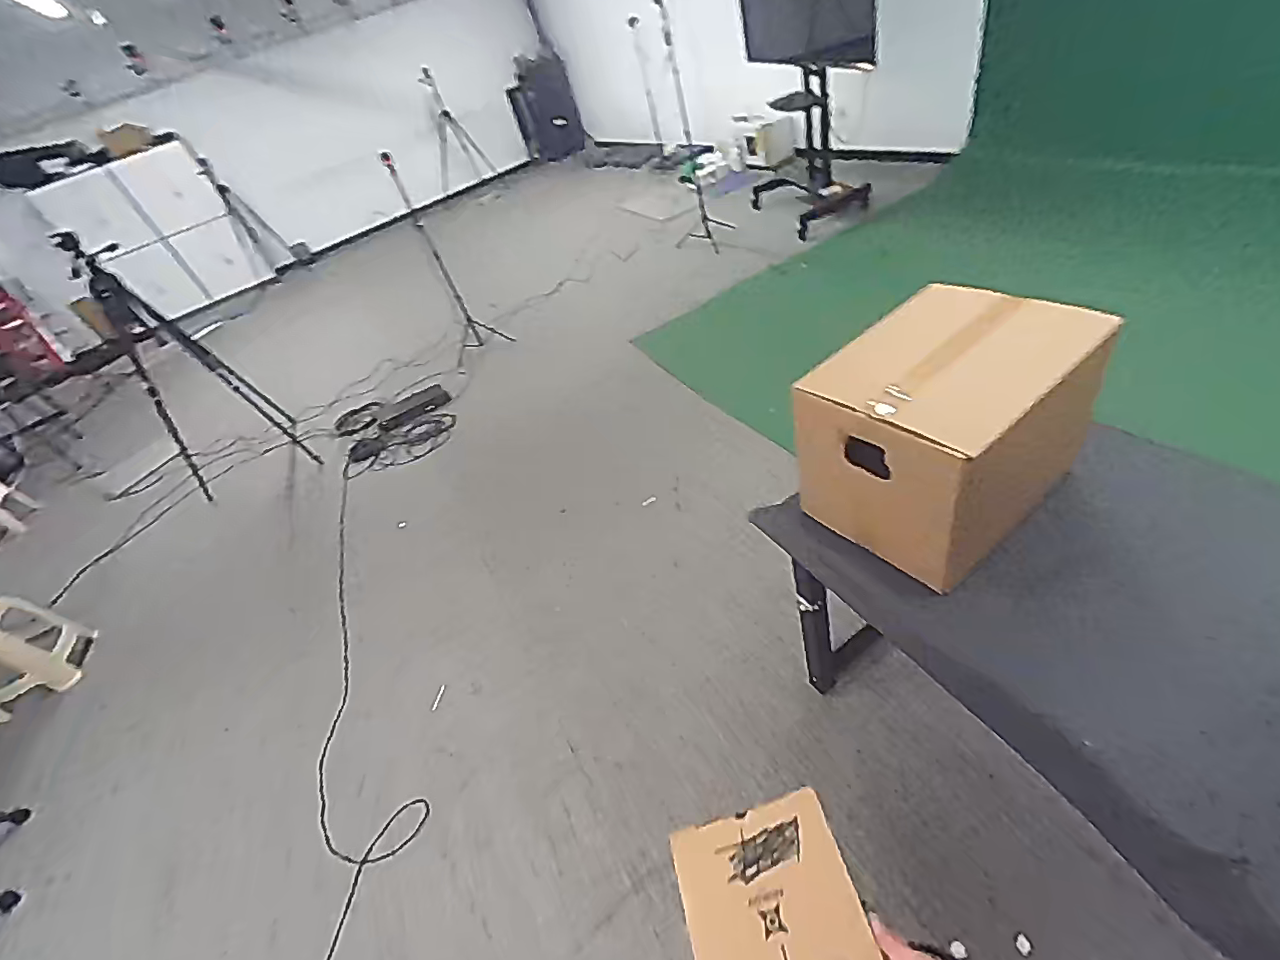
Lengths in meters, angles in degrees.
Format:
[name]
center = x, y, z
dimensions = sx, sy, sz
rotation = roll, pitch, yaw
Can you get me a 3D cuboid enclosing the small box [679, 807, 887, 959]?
[small box]
center = 0.153, 0.470, 0.549
dimensions = 0.168, 0.176, 0.179
rotation = -20, 43, 5
